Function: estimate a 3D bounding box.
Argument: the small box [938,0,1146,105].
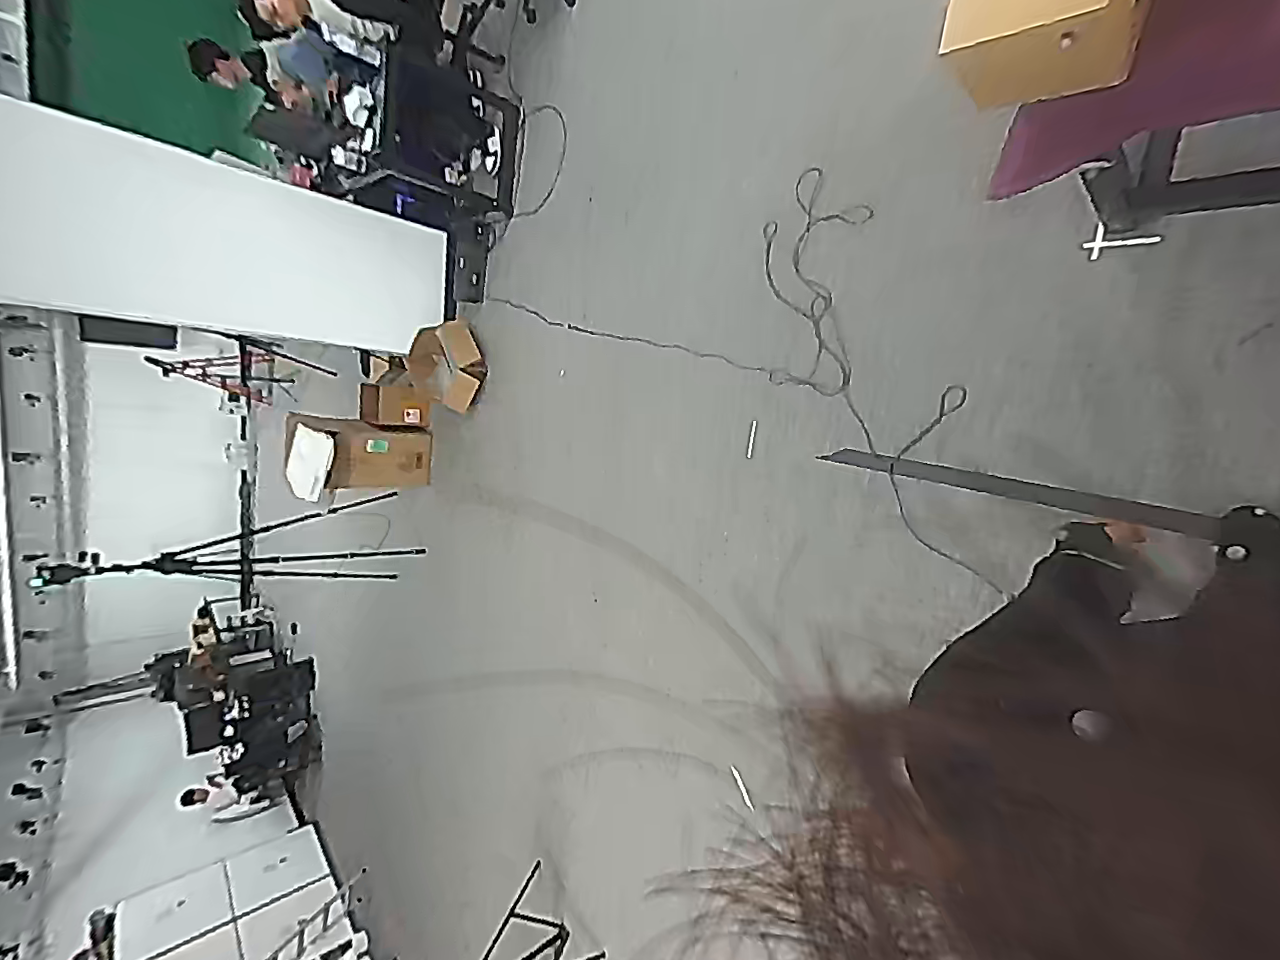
[{"bbox_3d":[0.509,-0.608,0.675,0.179,0.176,0.168,19,105,44],"label":"small box"}]
